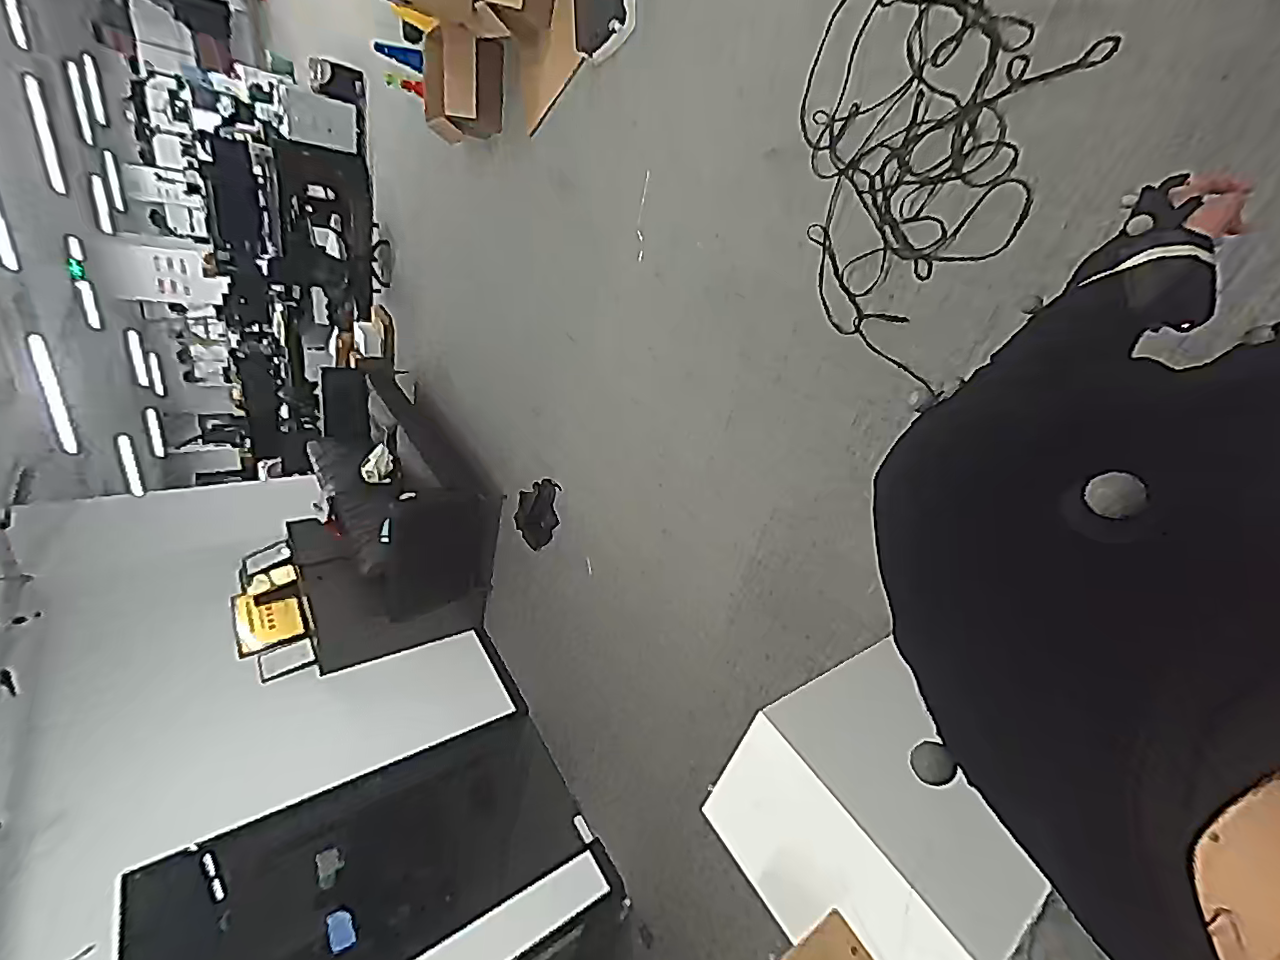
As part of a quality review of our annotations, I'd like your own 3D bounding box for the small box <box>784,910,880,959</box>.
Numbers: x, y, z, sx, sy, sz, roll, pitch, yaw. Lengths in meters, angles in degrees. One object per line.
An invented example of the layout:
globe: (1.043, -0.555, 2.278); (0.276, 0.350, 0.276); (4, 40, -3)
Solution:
small box: (0.337, 0.931, 0.967); (0.168, 0.176, 0.179); (45, 130, 39)
